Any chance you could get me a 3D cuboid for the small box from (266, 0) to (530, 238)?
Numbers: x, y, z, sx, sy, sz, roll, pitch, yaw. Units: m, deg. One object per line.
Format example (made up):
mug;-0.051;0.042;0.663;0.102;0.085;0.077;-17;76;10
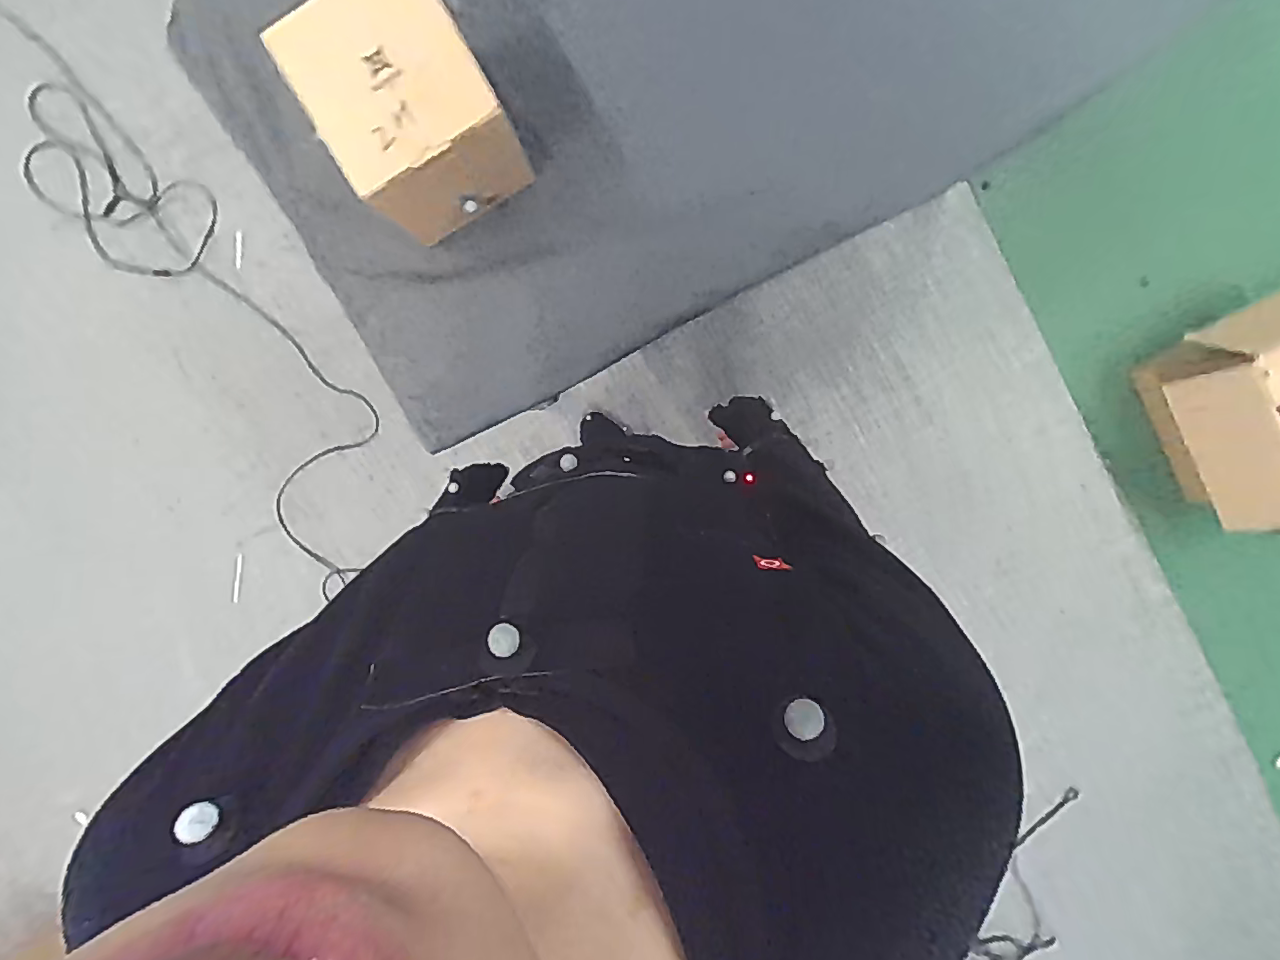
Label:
small box;-0.246;-0.406;0.597;0.168;0.176;0.179;-30;97;4
